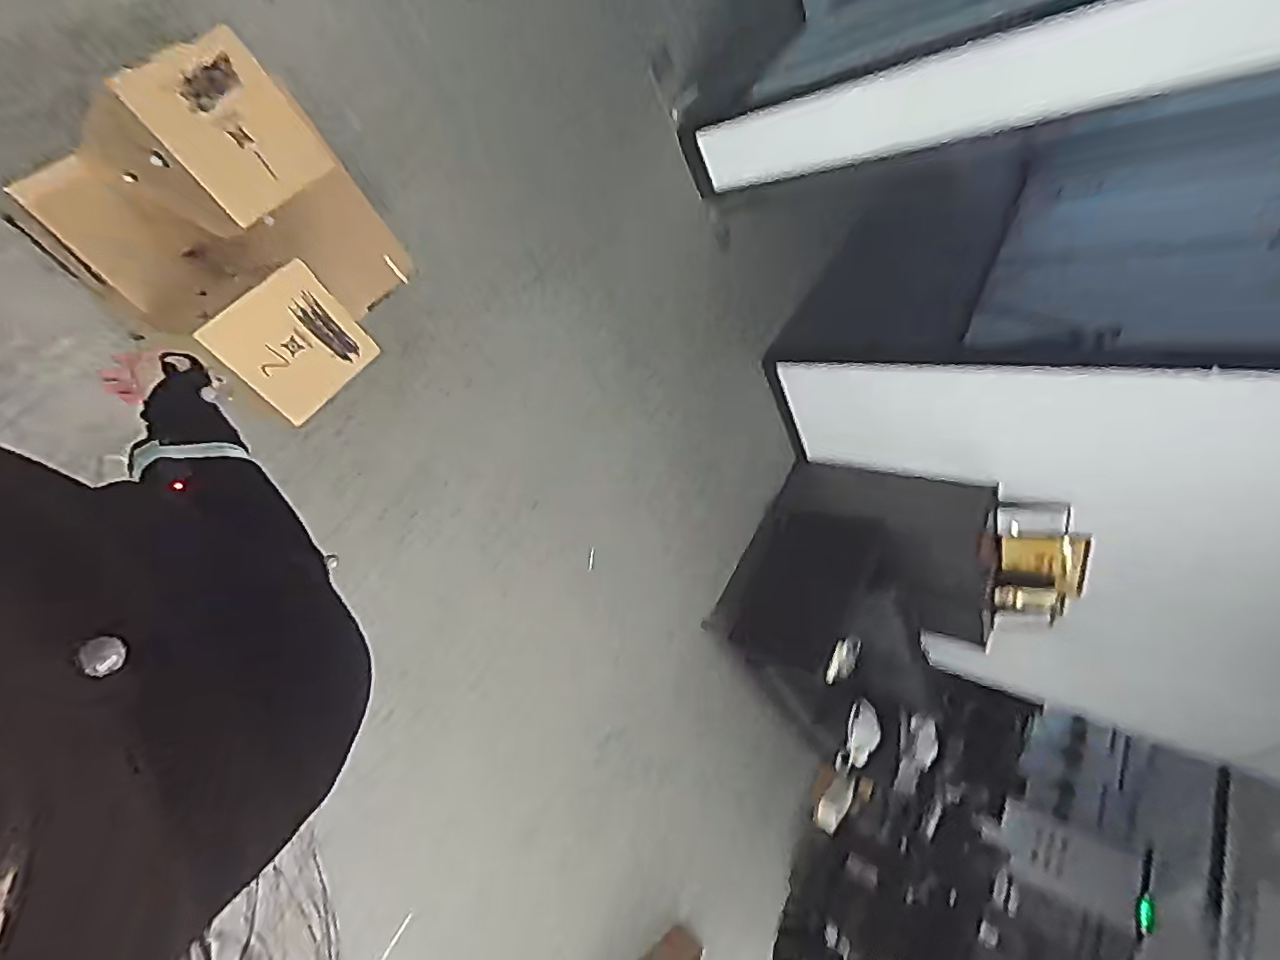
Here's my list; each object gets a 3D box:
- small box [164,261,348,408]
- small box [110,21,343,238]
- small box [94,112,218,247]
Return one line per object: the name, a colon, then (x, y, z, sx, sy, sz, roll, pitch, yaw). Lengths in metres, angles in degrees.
small box: (-0.656, -0.248, 0.929, 0.168, 0.176, 0.179, -57, 136, -25)
small box: (-0.559, -0.459, 0.734, 0.168, 0.176, 0.179, -56, 134, -25)
small box: (-0.685, -0.490, 0.839, 0.179, 0.176, 0.168, -56, 135, -26)
